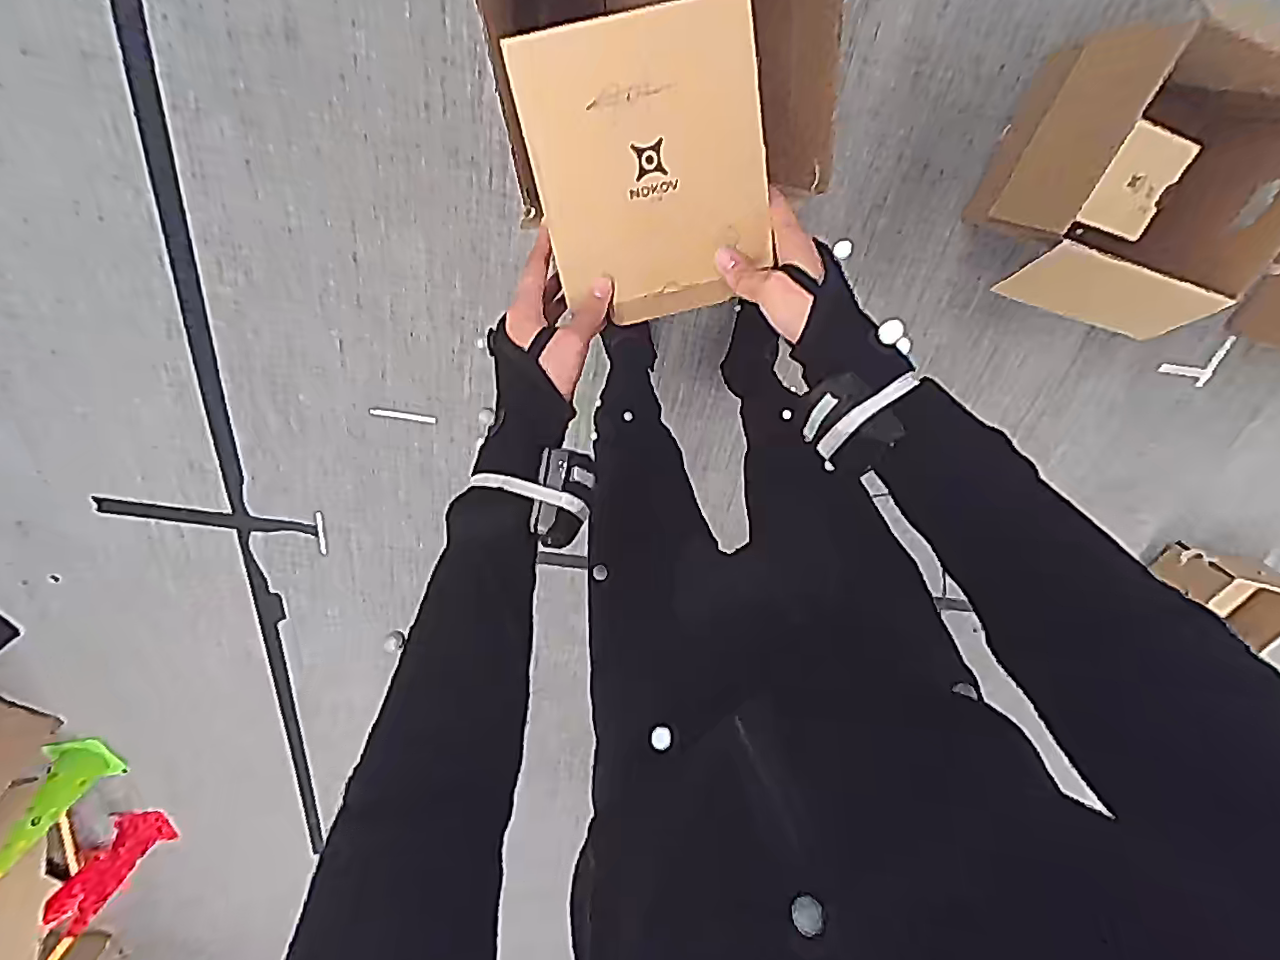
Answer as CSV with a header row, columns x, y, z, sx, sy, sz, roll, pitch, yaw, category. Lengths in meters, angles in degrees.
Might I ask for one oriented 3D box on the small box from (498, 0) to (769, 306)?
x,y,z,sx,sy,sz,roll,pitch,yaw,category
-0.003,-0.261,0.451,0.168,0.176,0.179,-14,115,-1,small box
